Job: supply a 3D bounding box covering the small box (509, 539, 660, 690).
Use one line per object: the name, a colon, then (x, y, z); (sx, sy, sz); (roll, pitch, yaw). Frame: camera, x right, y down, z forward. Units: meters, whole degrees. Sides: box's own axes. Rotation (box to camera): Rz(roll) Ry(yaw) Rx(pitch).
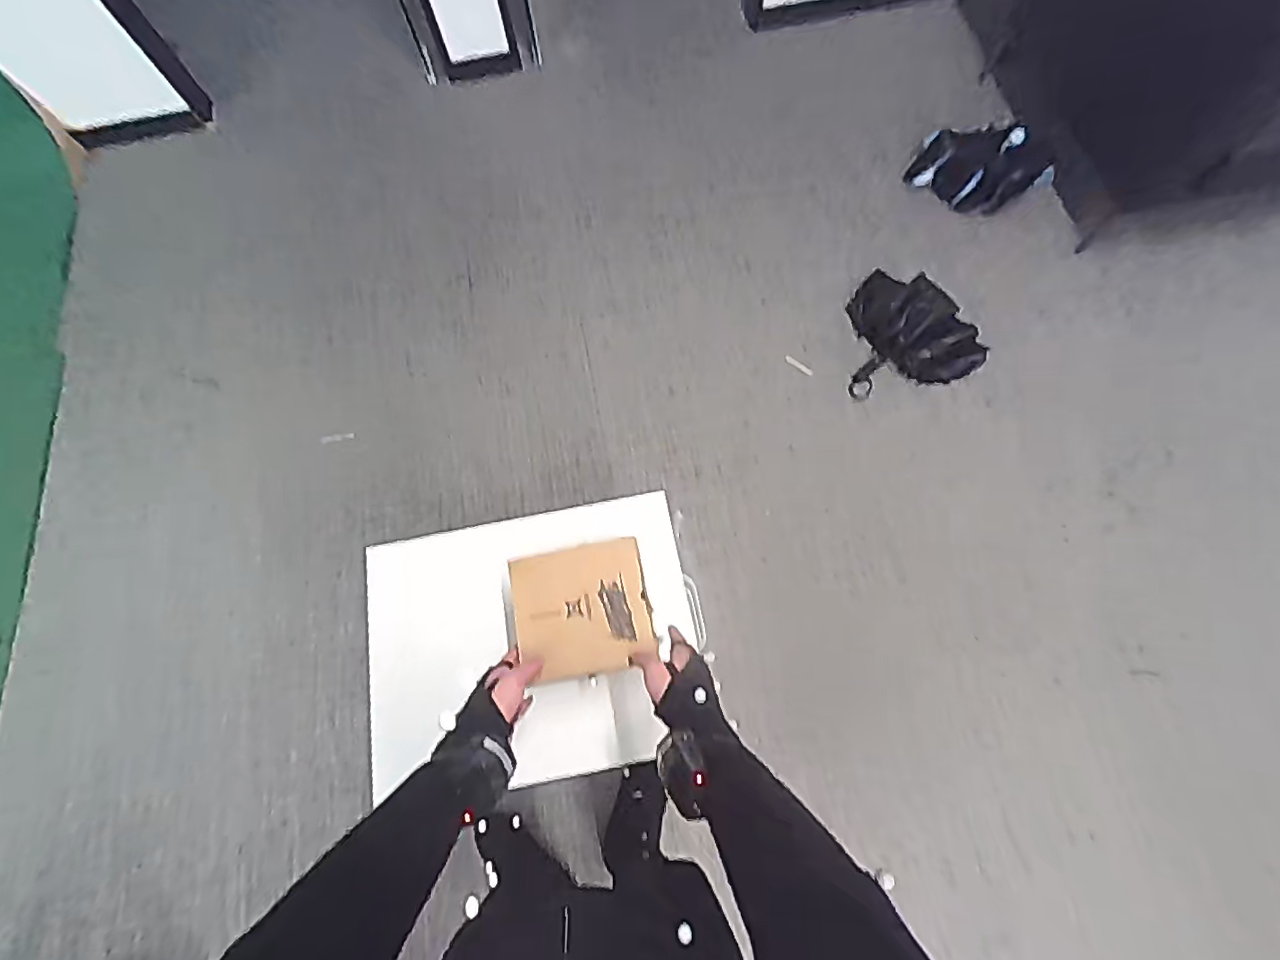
small box: (-0.072, 0.192, 0.759); (0.179, 0.176, 0.168); (-10, 70, -2)
